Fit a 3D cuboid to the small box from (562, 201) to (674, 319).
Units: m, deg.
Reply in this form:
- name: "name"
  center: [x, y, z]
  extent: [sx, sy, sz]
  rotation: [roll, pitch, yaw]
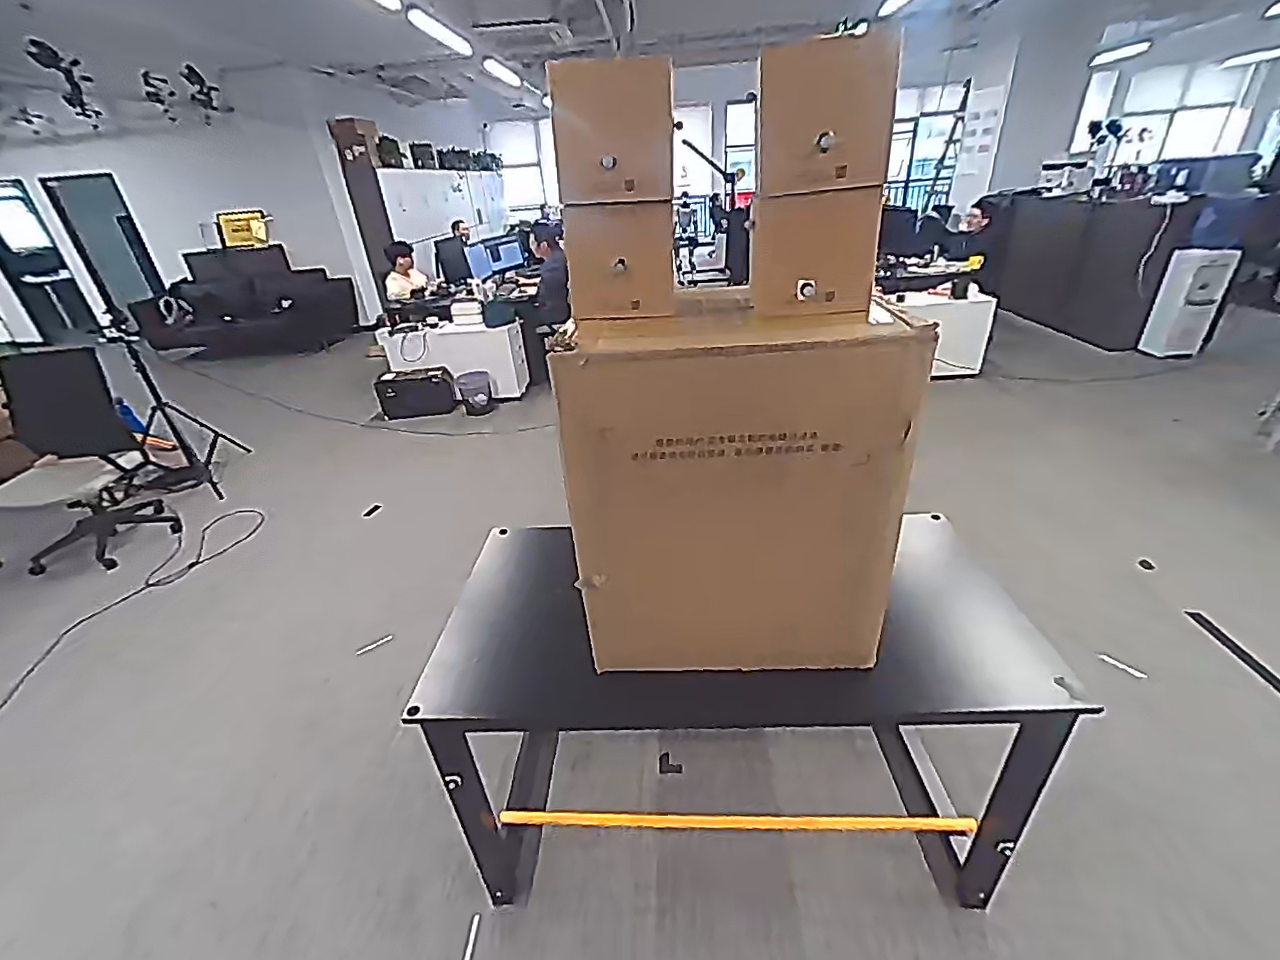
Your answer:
- name: "small box"
  center: [-0.027, -0.370, 0.904]
  extent: [0.168, 0.176, 0.179]
  rotation: [-1, 30, 3]

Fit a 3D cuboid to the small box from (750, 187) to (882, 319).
- name: "small box"
  center: [0.261, -0.358, 0.845]
  extent: [0.168, 0.176, 0.179]
  rotation: [-3, 30, 8]

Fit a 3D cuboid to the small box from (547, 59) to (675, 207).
- name: "small box"
  center: [-0.033, -0.507, 0.809]
  extent: [0.168, 0.176, 0.179]
  rotation: [-1, 29, 4]

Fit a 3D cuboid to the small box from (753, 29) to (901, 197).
- name: "small box"
  center: [0.246, -0.498, 0.759]
  extent: [0.168, 0.176, 0.179]
  rotation: [-2, 30, 9]
